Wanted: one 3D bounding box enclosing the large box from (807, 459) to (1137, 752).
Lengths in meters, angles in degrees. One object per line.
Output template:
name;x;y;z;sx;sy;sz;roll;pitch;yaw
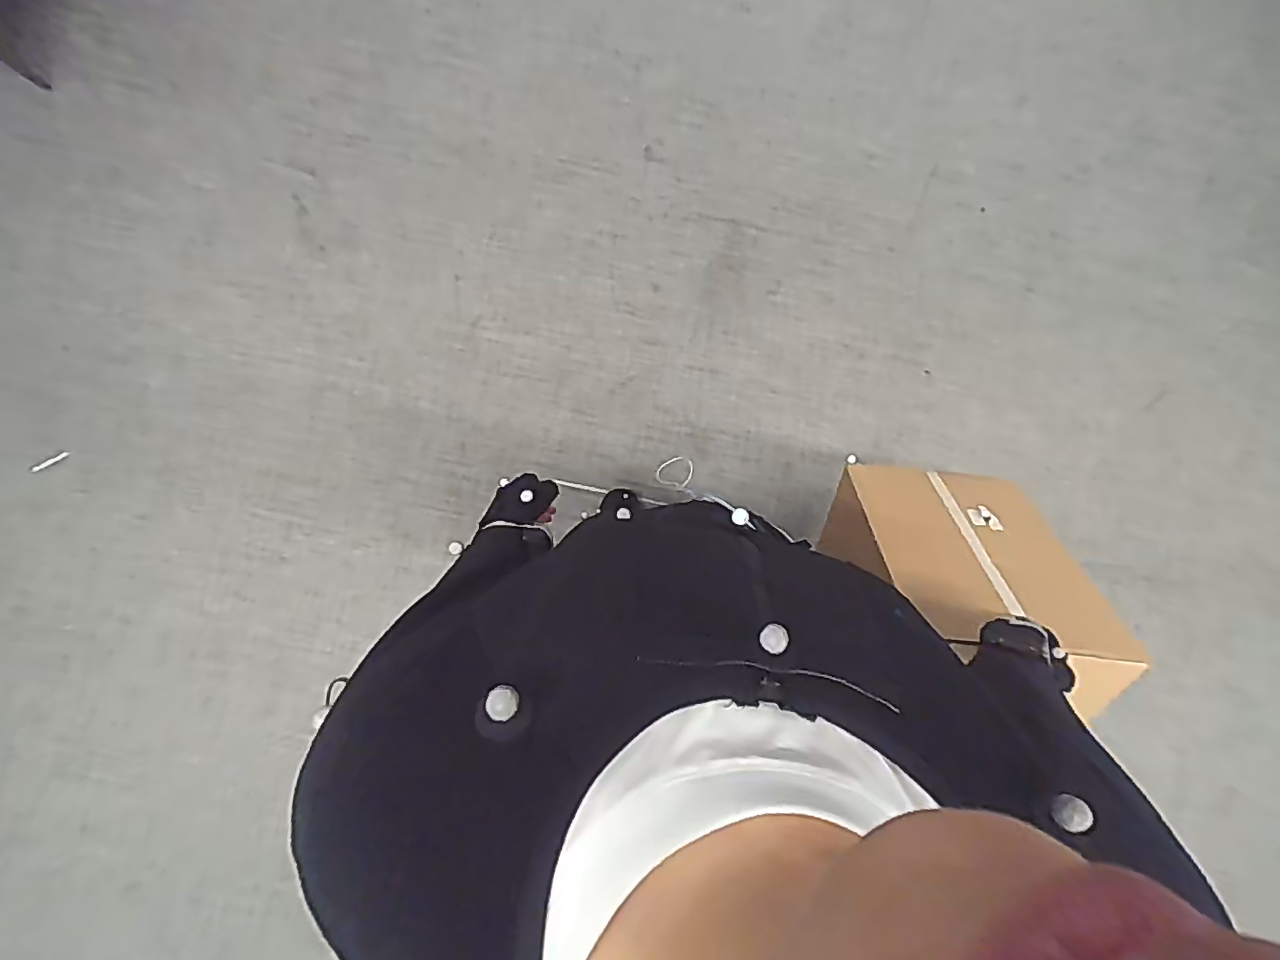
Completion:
large box;0.520;0.211;0.969;0.320;0.408;0.320;7;127;0
